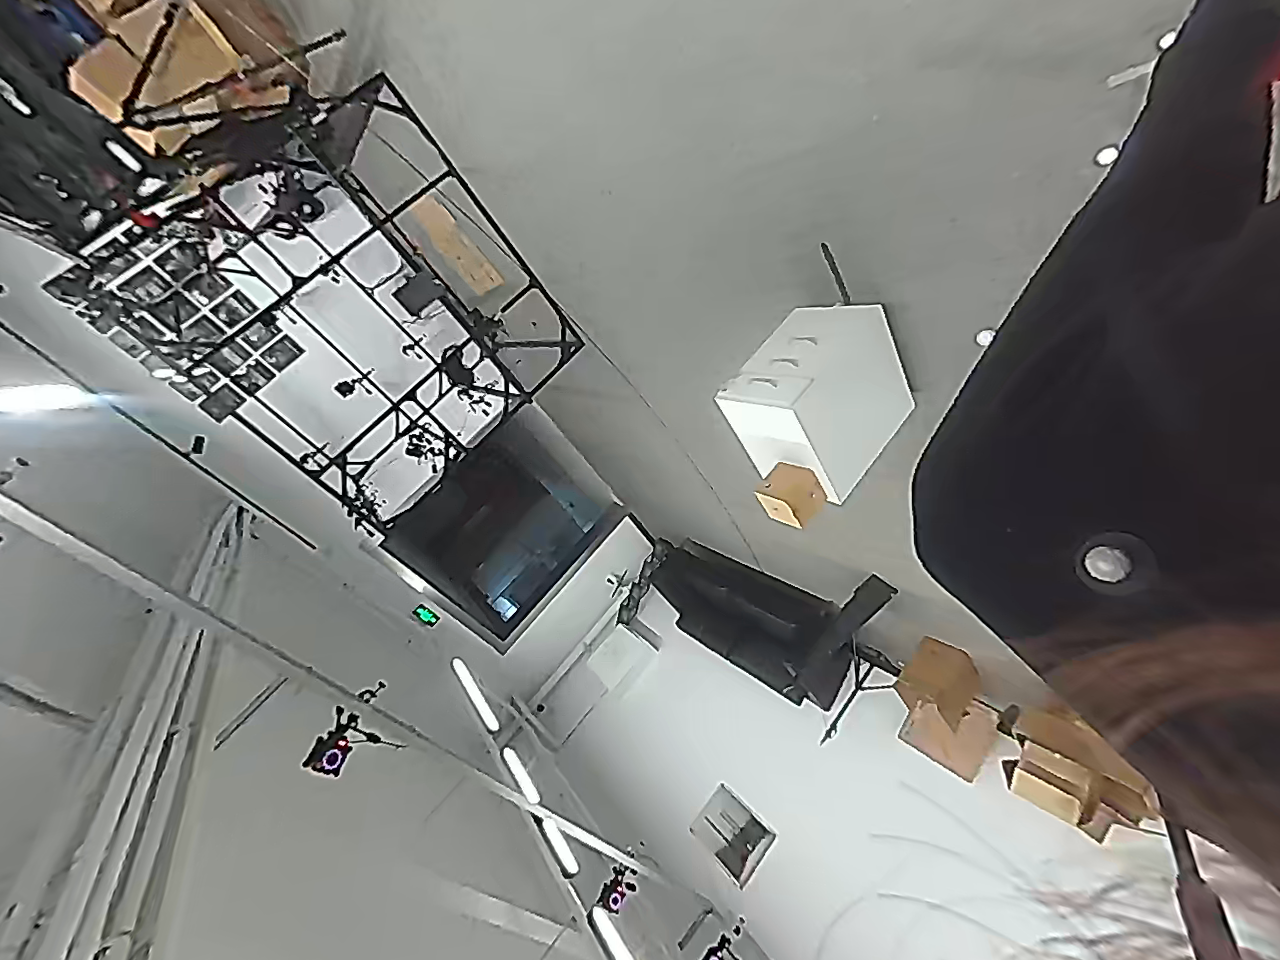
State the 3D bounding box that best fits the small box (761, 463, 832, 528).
[{"bbox_3d":[0.613,0.054,2.110,0.168,0.176,0.179,51,164,-31],"label":"small box"}]
